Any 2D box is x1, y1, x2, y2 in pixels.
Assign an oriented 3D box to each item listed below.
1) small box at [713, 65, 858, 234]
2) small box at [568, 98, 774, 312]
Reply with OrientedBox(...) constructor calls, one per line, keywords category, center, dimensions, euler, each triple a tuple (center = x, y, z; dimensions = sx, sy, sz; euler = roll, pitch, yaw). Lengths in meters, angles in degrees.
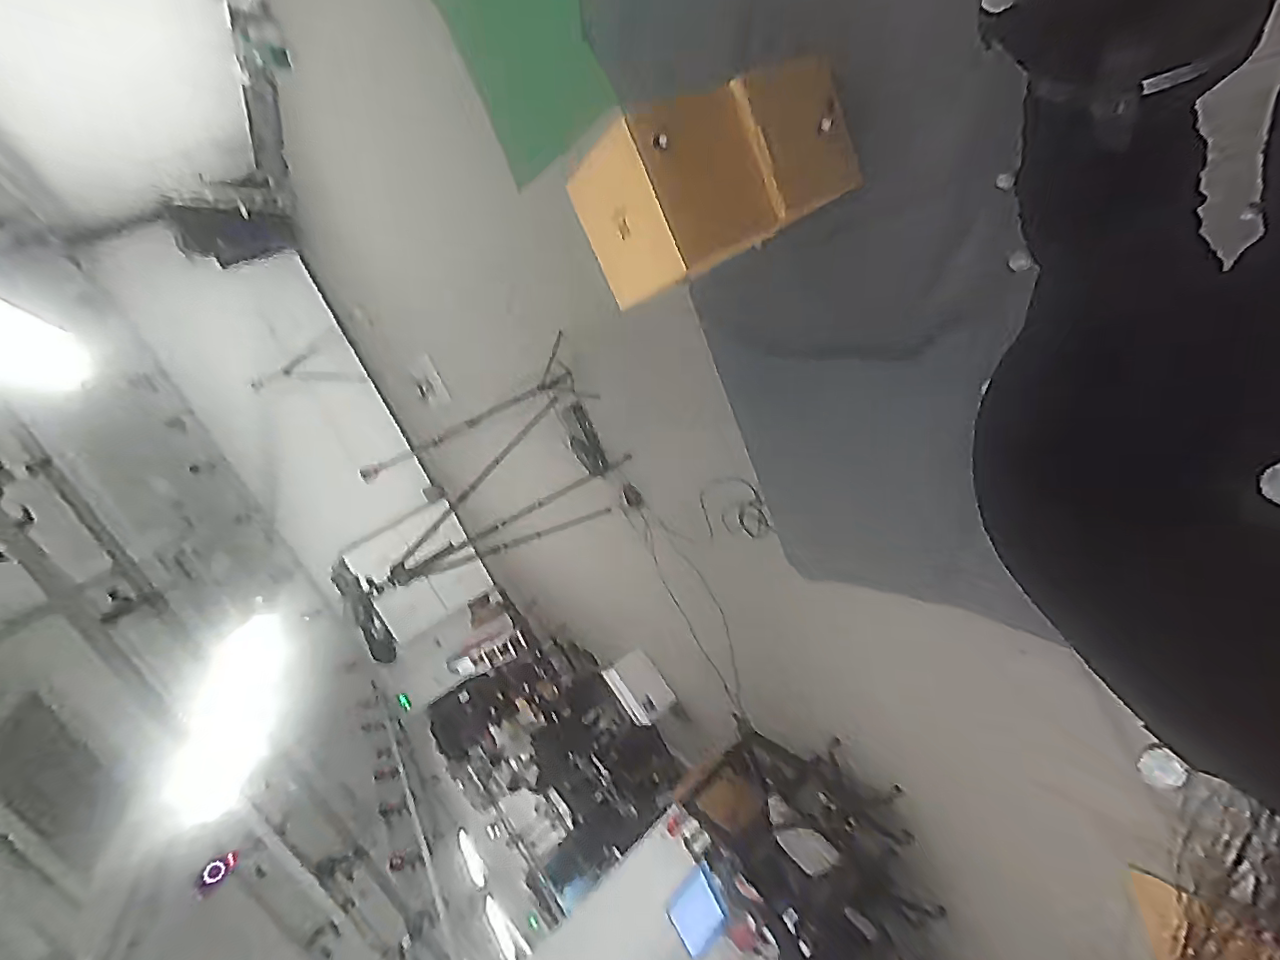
OrientedBox(category="small box", center=(0.166, -0.435, 0.756), dimensions=(0.179, 0.176, 0.168), euler=(0, 120, 59))
OrientedBox(category="small box", center=(0.042, -0.347, 0.696), dimensions=(0.168, 0.176, 0.179), euler=(-1, 117, 60))
